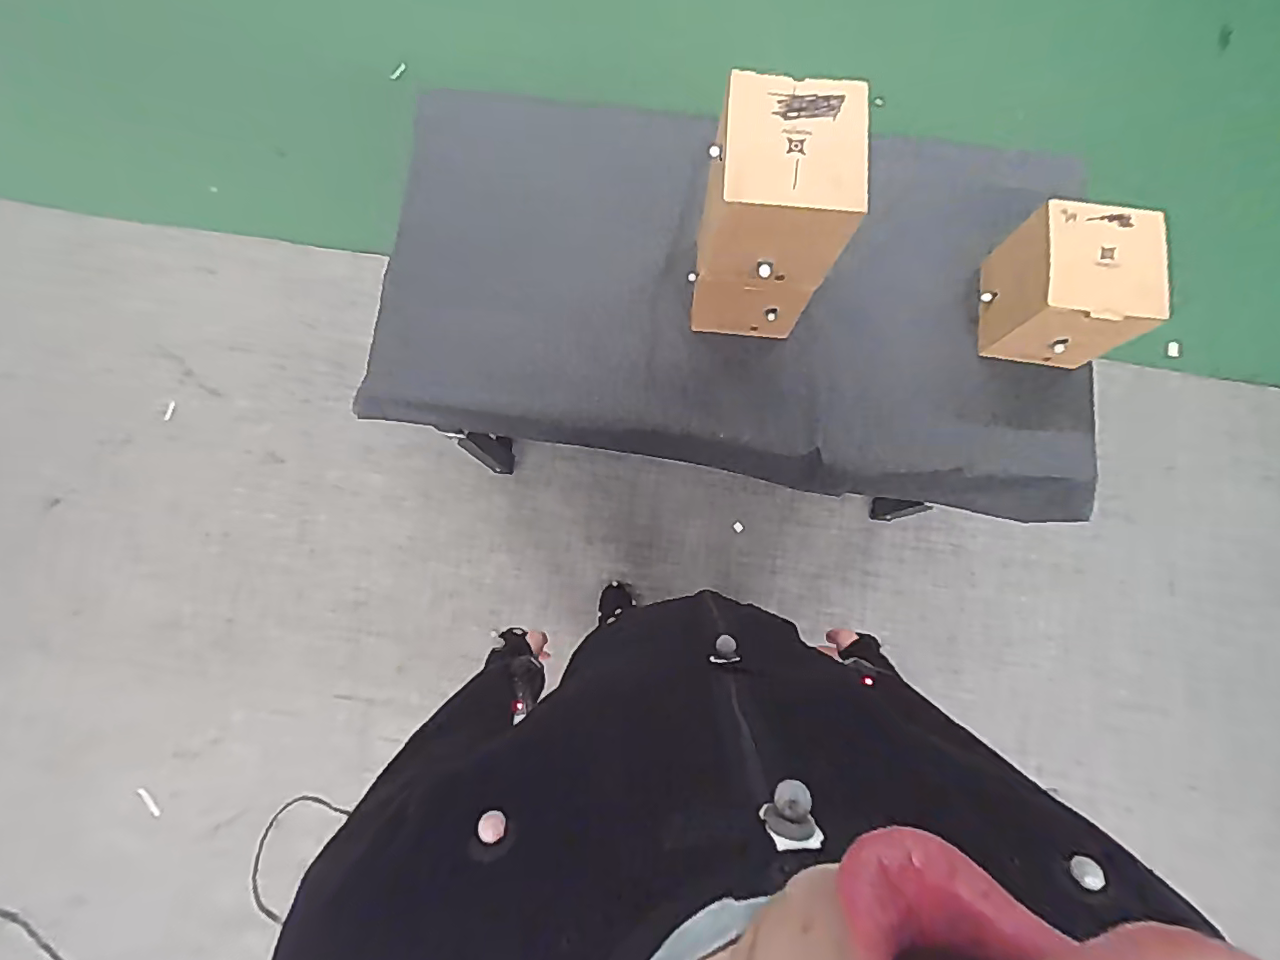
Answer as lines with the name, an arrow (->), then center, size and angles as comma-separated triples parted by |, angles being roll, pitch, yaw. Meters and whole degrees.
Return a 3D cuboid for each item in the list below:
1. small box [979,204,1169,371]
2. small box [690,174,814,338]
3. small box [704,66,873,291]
small box -> 0.656, -0.286, 0.837 | 0.168, 0.176, 0.179 | 9, 80, 2
small box -> 0.173, -0.341, 0.848 | 0.168, 0.176, 0.179 | 6, 78, -1
small box -> 0.177, -0.369, 0.686 | 0.168, 0.176, 0.179 | 5, 80, 0
